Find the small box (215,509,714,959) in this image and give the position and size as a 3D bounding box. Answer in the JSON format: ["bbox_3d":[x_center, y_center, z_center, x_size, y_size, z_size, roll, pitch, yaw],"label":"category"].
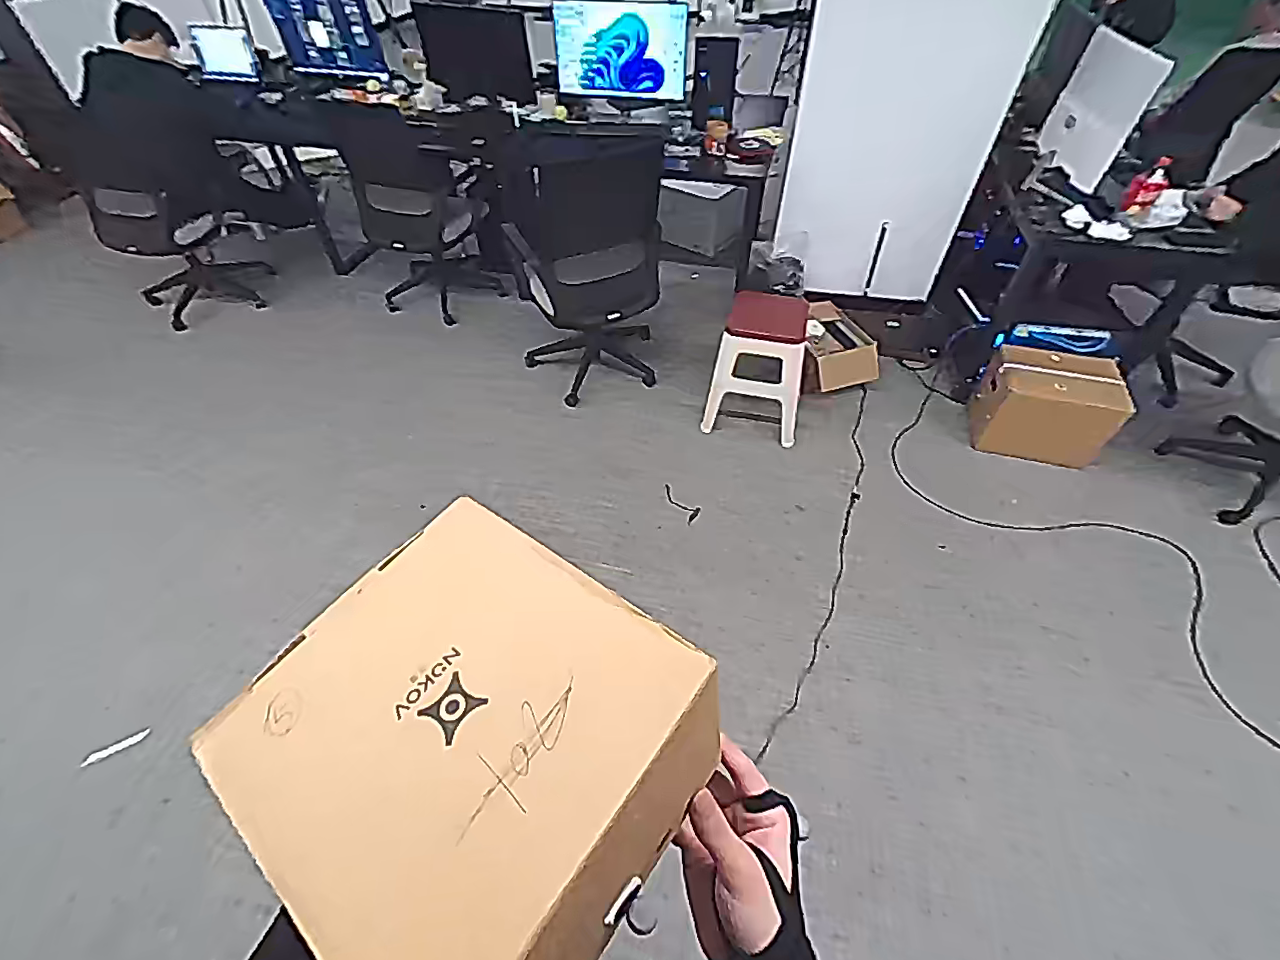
[{"bbox_3d":[-0.073,0.154,0.309,0.179,0.176,0.168,27,60,27],"label":"small box"}]
